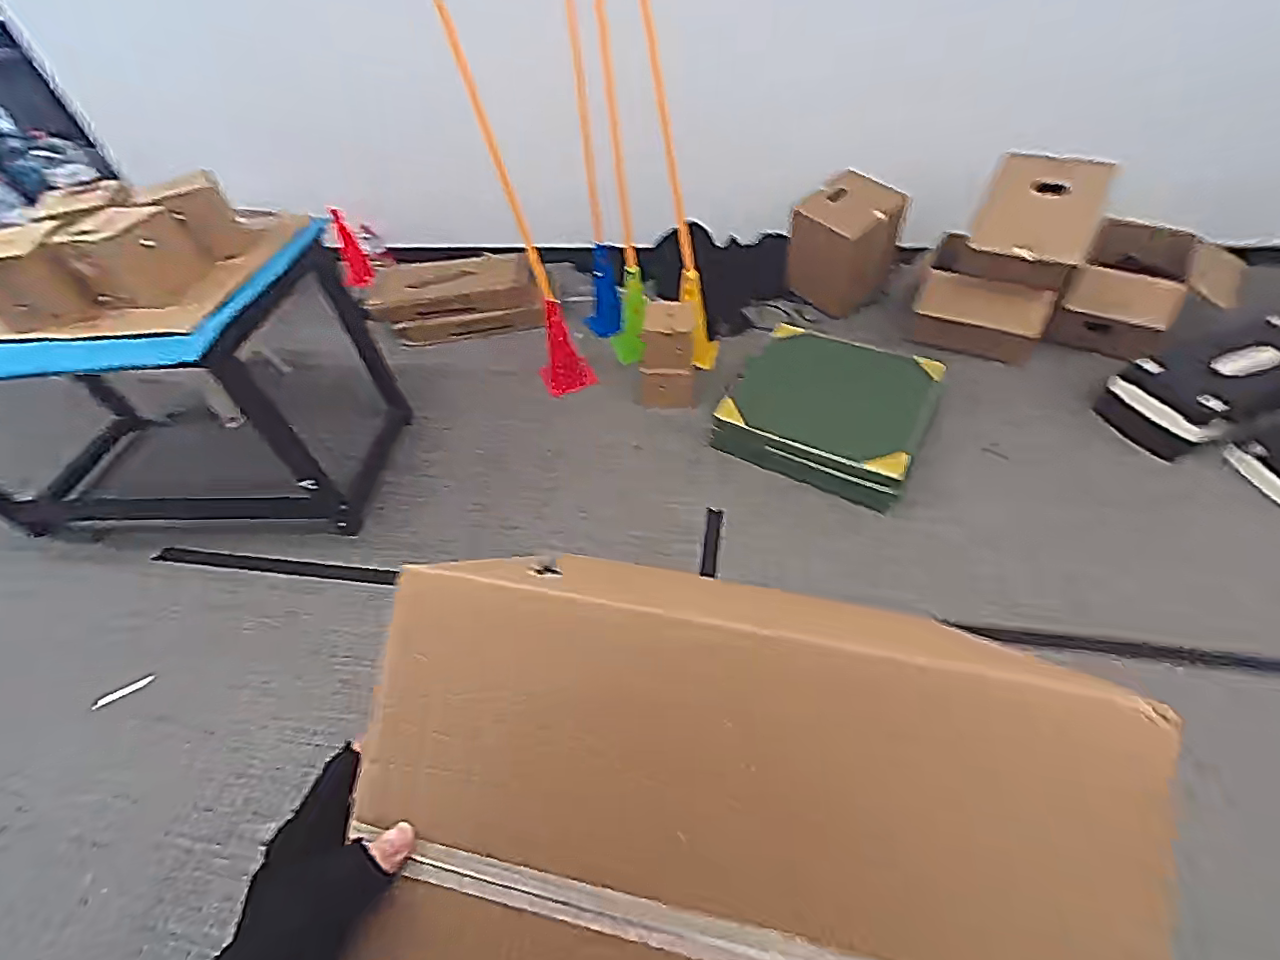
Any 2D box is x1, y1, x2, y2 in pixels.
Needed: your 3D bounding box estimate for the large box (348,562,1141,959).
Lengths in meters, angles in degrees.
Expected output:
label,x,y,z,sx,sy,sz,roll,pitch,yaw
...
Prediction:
label,x,y,z,sx,sy,sz,roll,pitch,yaw
large box,0.057,0.250,0.436,0.408,0.320,0.320,9,86,10
